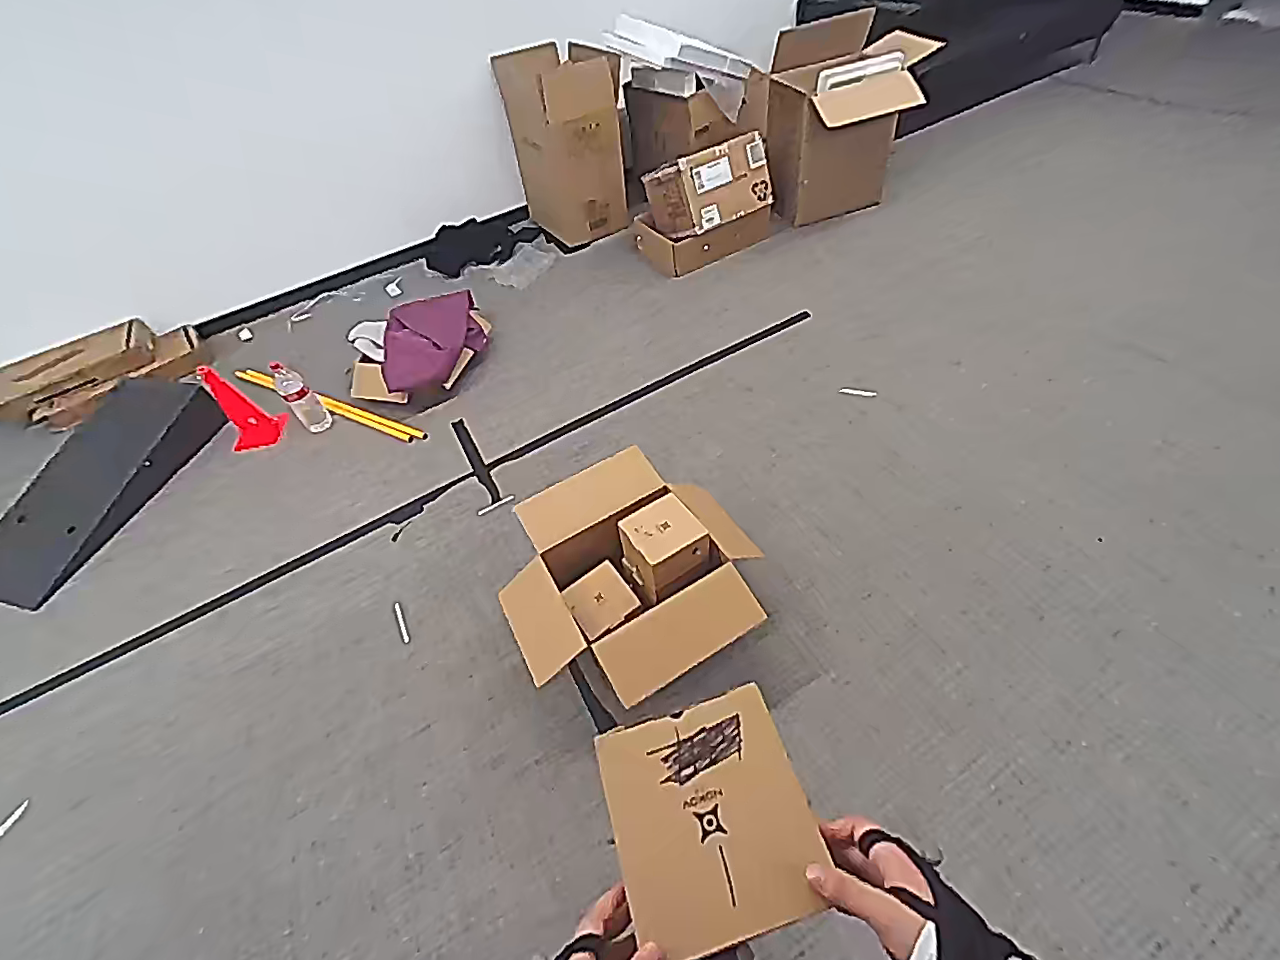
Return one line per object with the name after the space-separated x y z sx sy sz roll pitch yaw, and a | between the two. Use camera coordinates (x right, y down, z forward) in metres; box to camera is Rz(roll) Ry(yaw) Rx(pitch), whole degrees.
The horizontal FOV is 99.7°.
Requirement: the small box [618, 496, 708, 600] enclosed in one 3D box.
0.061 0.181 1.429 0.179 0.176 0.168 -29 51 -17 | small box

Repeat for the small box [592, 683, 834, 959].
0.063 0.333 0.530 0.168 0.176 0.179 -18 50 -4 | small box
